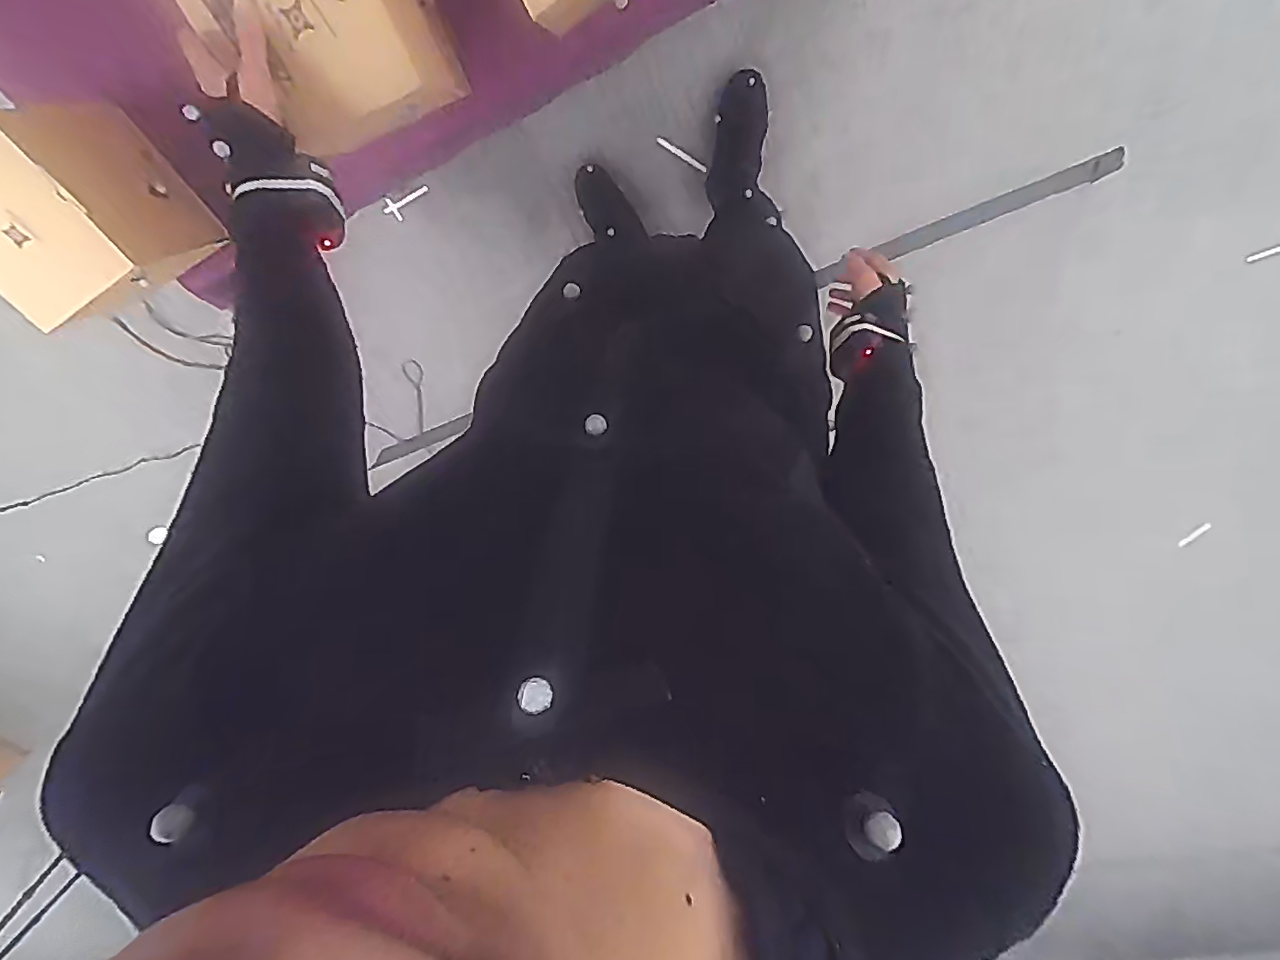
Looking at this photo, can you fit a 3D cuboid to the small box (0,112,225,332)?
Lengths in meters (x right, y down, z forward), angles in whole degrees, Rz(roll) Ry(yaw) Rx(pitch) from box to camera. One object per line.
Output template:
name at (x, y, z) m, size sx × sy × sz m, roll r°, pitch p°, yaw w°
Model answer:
small box at (-0.668, -0.311, 0.656) m, size 0.179 × 0.176 × 0.168 m, roll -23°, pitch 121°, yaw 16°

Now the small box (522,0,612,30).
small box at (-0.061, -0.541, 0.471) m, size 0.168 × 0.176 × 0.179 m, roll -23°, pitch 122°, yaw 17°
